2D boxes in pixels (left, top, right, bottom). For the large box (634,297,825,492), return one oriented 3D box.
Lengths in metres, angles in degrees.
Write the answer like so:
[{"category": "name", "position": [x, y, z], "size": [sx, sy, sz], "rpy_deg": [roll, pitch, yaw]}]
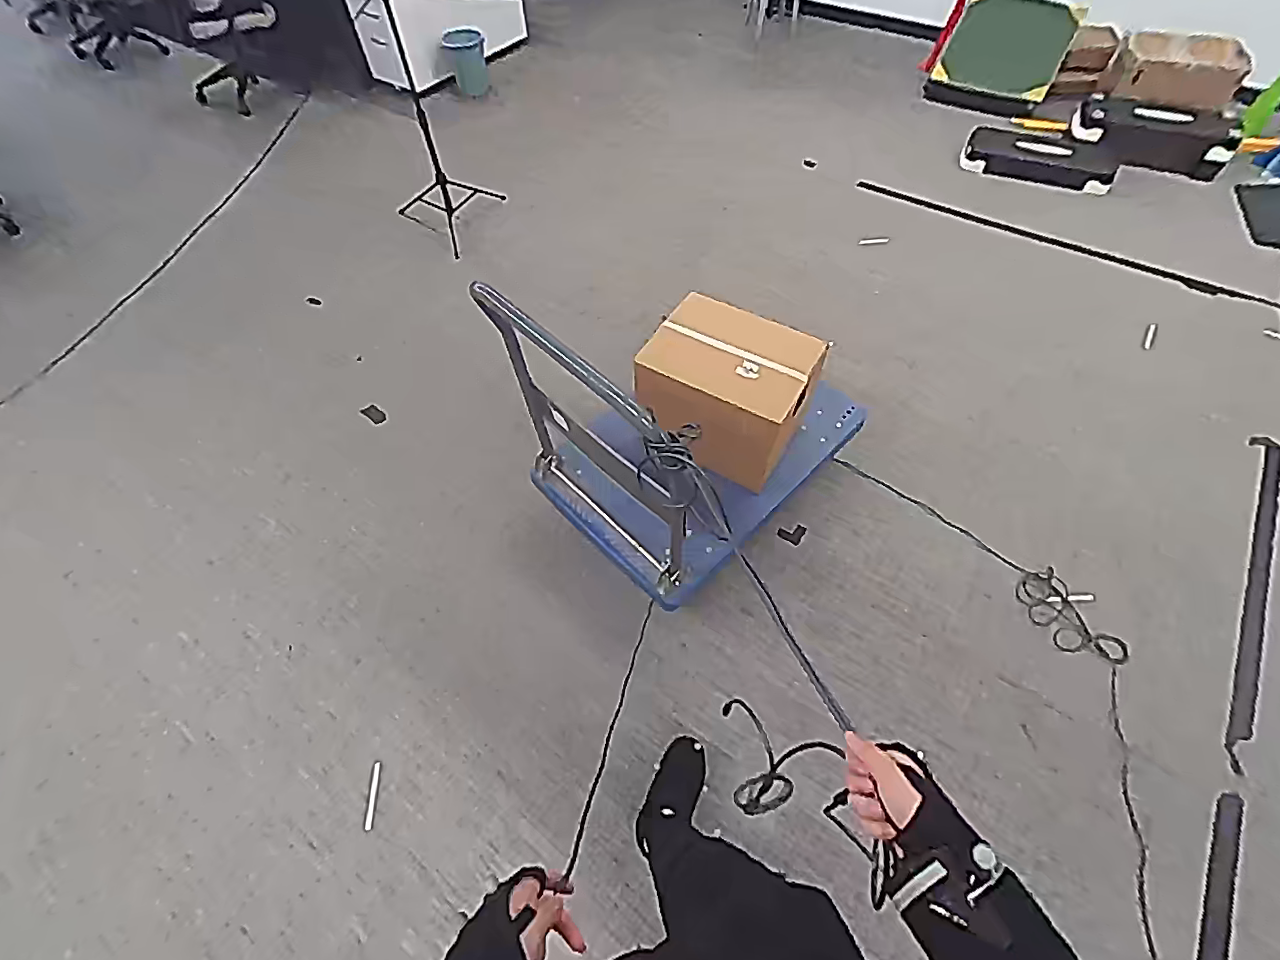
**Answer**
[{"category": "large box", "position": [0.227, -0.233, 1.487], "size": [0.408, 0.320, 0.320], "rpy_deg": [27, 62, 17]}]
